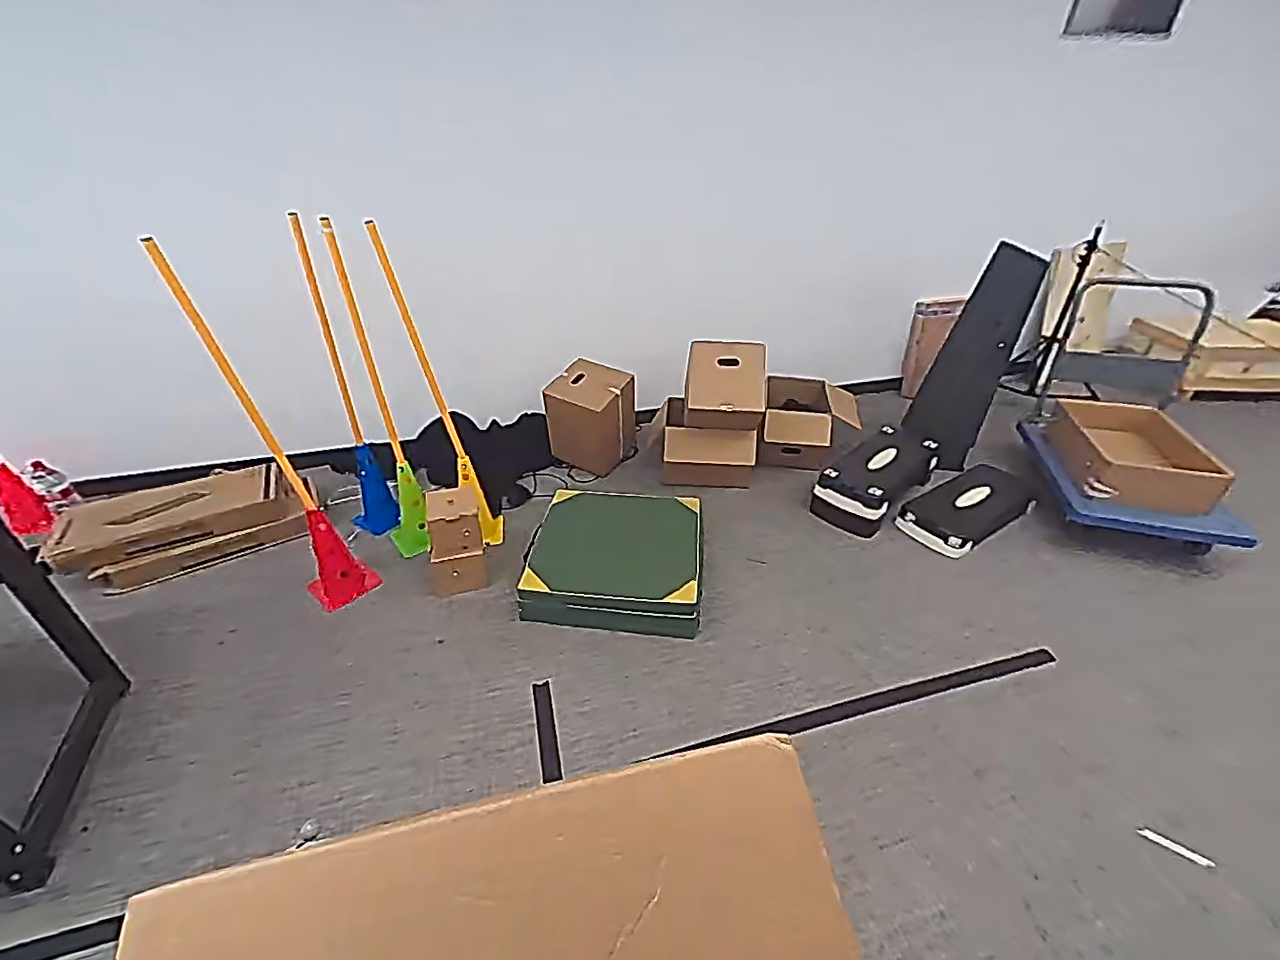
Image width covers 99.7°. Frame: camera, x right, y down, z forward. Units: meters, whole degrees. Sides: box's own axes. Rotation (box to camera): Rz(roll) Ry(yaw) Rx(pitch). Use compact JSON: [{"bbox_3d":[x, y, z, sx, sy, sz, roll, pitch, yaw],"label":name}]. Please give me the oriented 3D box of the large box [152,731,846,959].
[{"bbox_3d":[-0.070,0.414,0.416,0.408,0.320,0.320,-10,64,-7],"label":"large box"}]
